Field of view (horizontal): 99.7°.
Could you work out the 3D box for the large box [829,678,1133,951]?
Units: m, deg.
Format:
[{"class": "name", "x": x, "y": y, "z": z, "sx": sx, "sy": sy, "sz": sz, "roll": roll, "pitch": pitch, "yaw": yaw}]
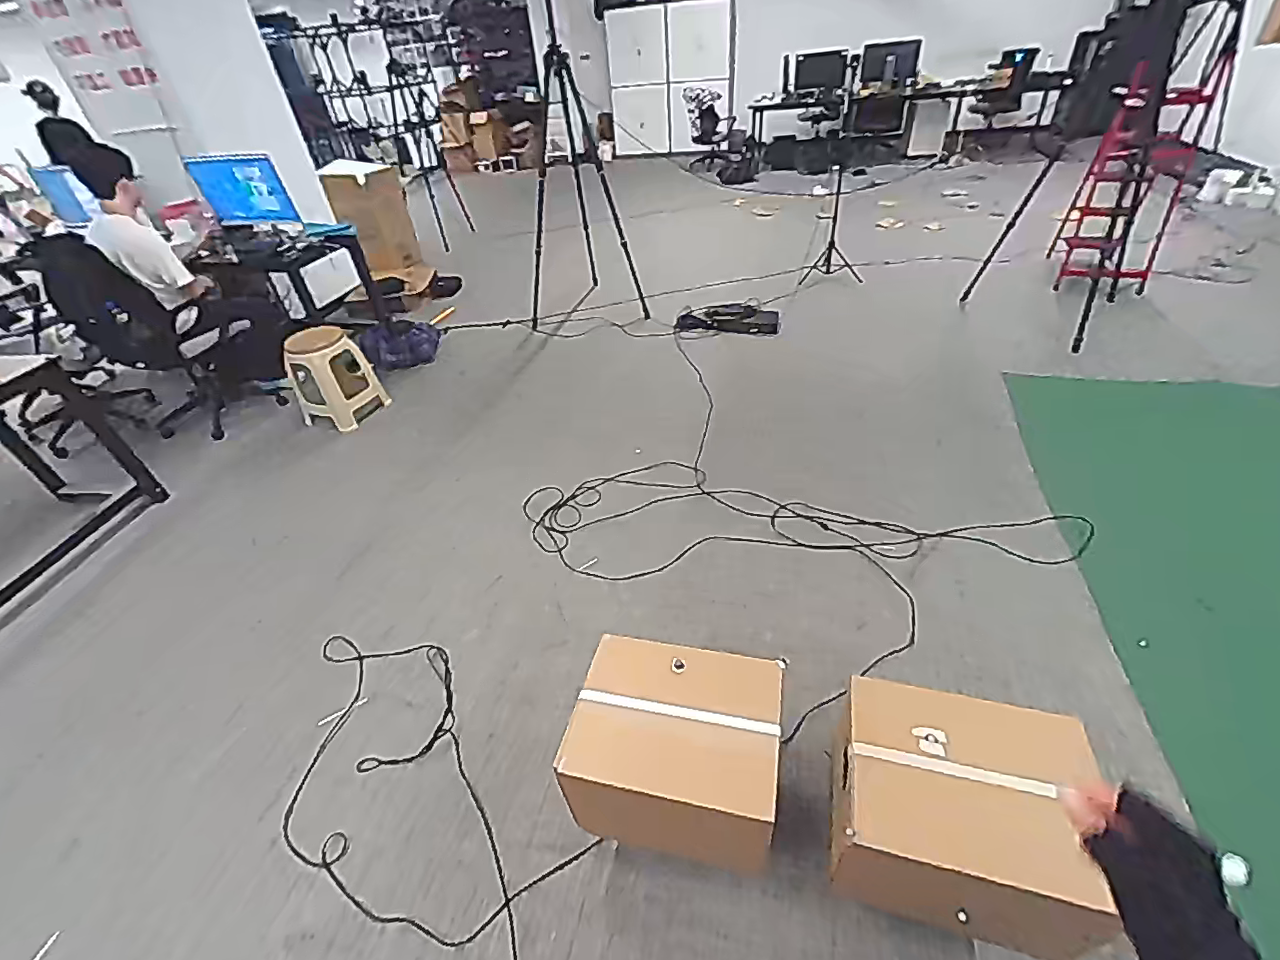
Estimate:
[{"class": "large box", "x": 0.599, "y": 0.638, "z": 1.052, "sx": 0.408, "sy": 0.320, "sz": 0.320, "roll": 6, "pitch": 41, "yaw": 16}]
